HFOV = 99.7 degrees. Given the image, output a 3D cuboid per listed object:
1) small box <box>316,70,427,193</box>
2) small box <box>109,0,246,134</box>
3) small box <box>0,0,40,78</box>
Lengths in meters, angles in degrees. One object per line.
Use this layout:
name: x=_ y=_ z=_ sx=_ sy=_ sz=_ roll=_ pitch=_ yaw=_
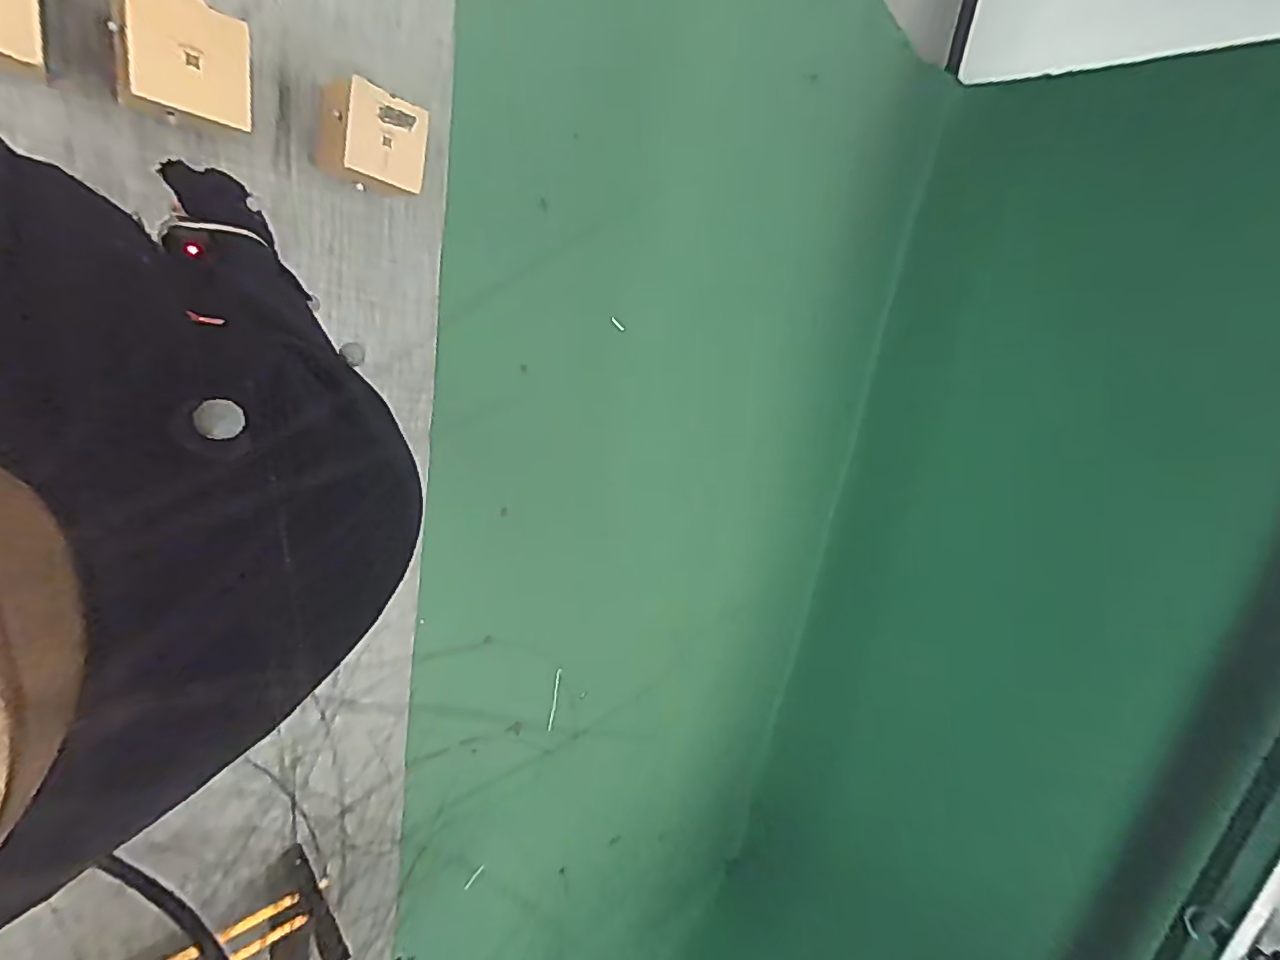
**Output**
small box: x=-0.600 y=-0.761 z=1.203 sx=0.168 sy=0.176 sz=0.179 roll=-1 pitch=109 yaw=-48
small box: x=-0.819 y=-0.745 z=0.962 sx=0.168 sy=0.176 sz=0.179 roll=-7 pitch=112 yaw=-47
small box: x=-0.990 y=-0.722 z=0.773 sx=0.168 sy=0.176 sz=0.179 roll=-5 pitch=111 yaw=-47
